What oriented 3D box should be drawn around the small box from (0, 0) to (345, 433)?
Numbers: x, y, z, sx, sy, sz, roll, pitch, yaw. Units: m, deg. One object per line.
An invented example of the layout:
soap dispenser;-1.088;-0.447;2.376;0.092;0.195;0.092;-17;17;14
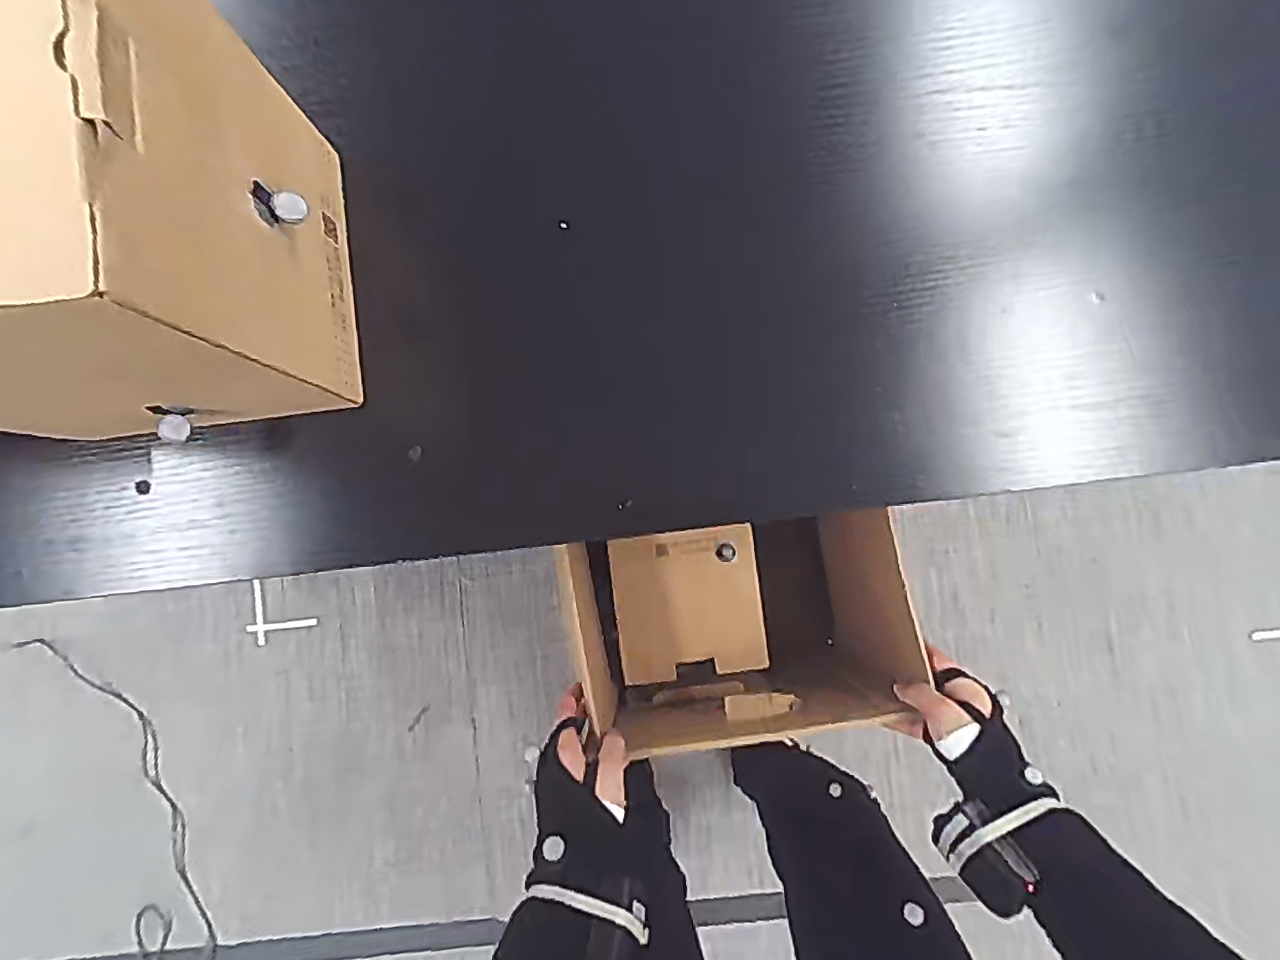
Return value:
small box;-0.262;-0.122;0.251;0.179;0.176;0.168;-8;86;-2
